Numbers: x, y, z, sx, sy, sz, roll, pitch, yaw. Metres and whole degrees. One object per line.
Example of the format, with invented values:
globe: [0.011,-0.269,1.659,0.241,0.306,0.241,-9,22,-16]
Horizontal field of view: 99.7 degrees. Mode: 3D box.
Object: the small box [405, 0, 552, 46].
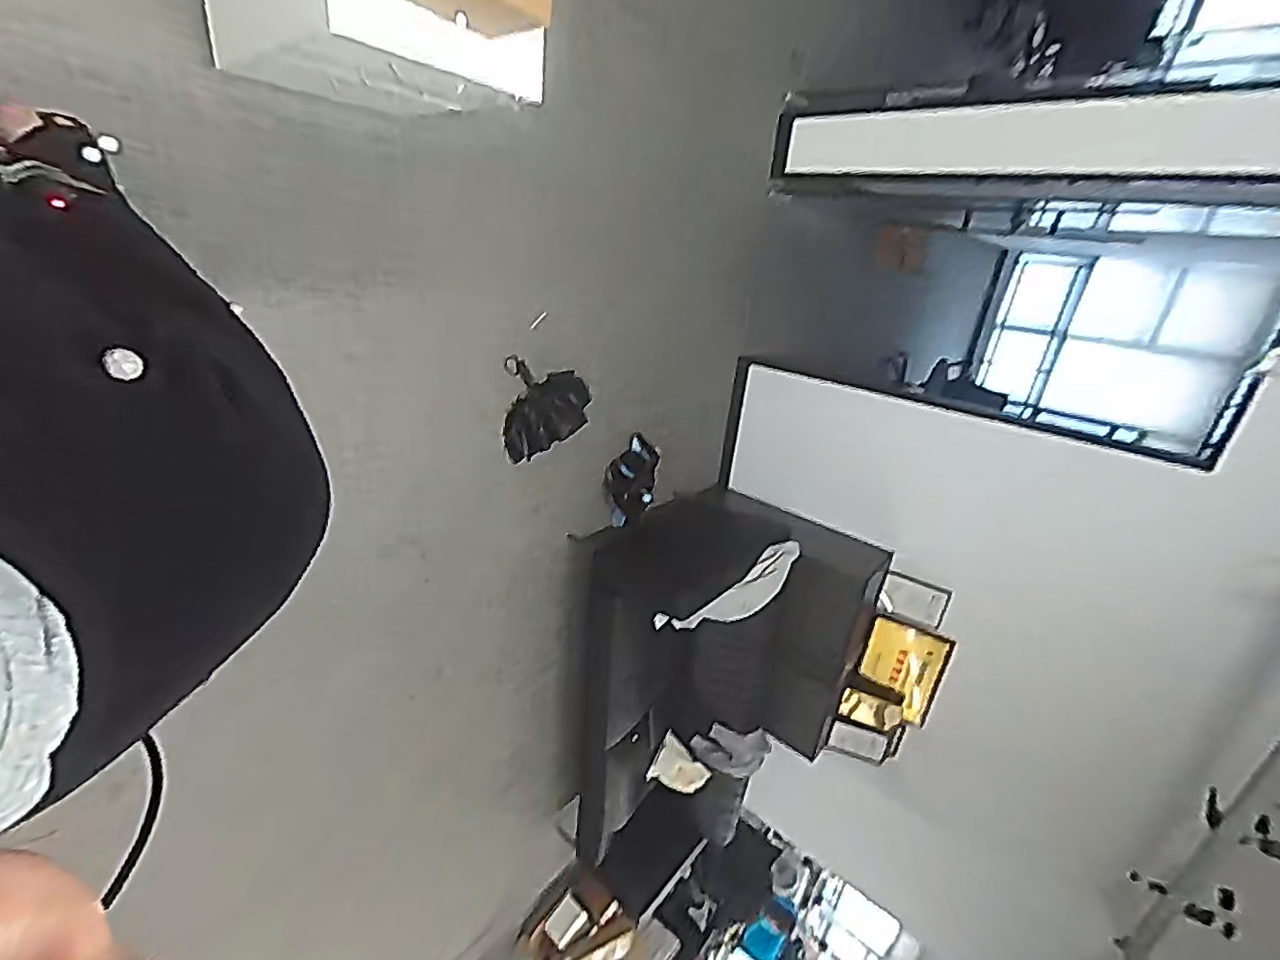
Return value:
small box: [-0.247,-0.798,0.816,0.168,0.176,0.179,-17,122,-47]
